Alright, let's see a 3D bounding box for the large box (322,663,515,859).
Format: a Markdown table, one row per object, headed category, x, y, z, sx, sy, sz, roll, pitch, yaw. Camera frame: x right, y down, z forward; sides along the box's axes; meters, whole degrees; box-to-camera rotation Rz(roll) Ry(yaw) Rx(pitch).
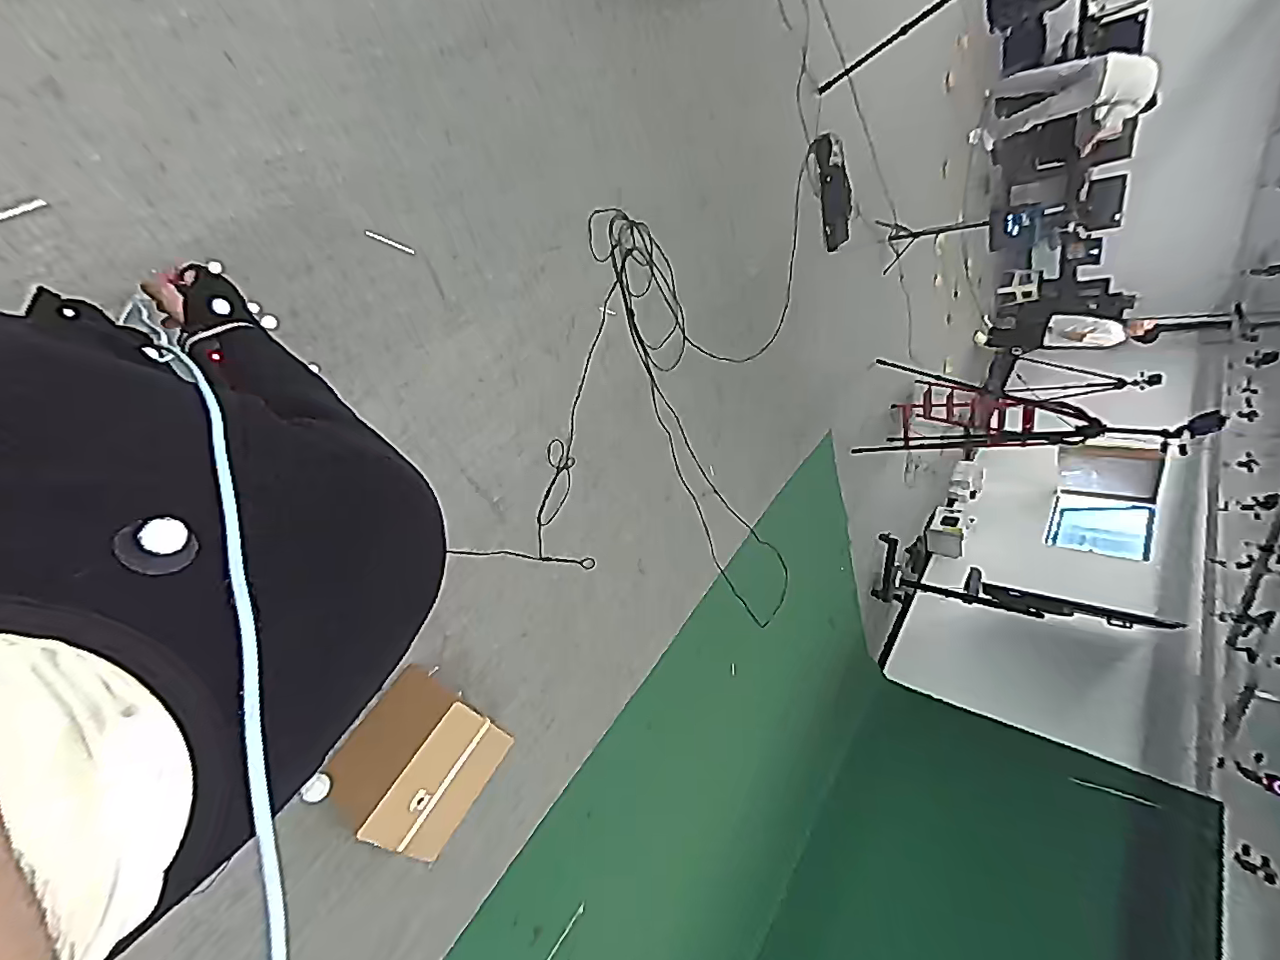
| category | x | y | z | sx | sy | sz | roll | pitch | yaw |
| --- | --- | --- | --- | --- | --- | --- | --- | --- | --- |
| large box | -0.685 | 0.863 | 1.700 | 0.408 | 0.320 | 0.320 | -54 | 132 | -25 |
